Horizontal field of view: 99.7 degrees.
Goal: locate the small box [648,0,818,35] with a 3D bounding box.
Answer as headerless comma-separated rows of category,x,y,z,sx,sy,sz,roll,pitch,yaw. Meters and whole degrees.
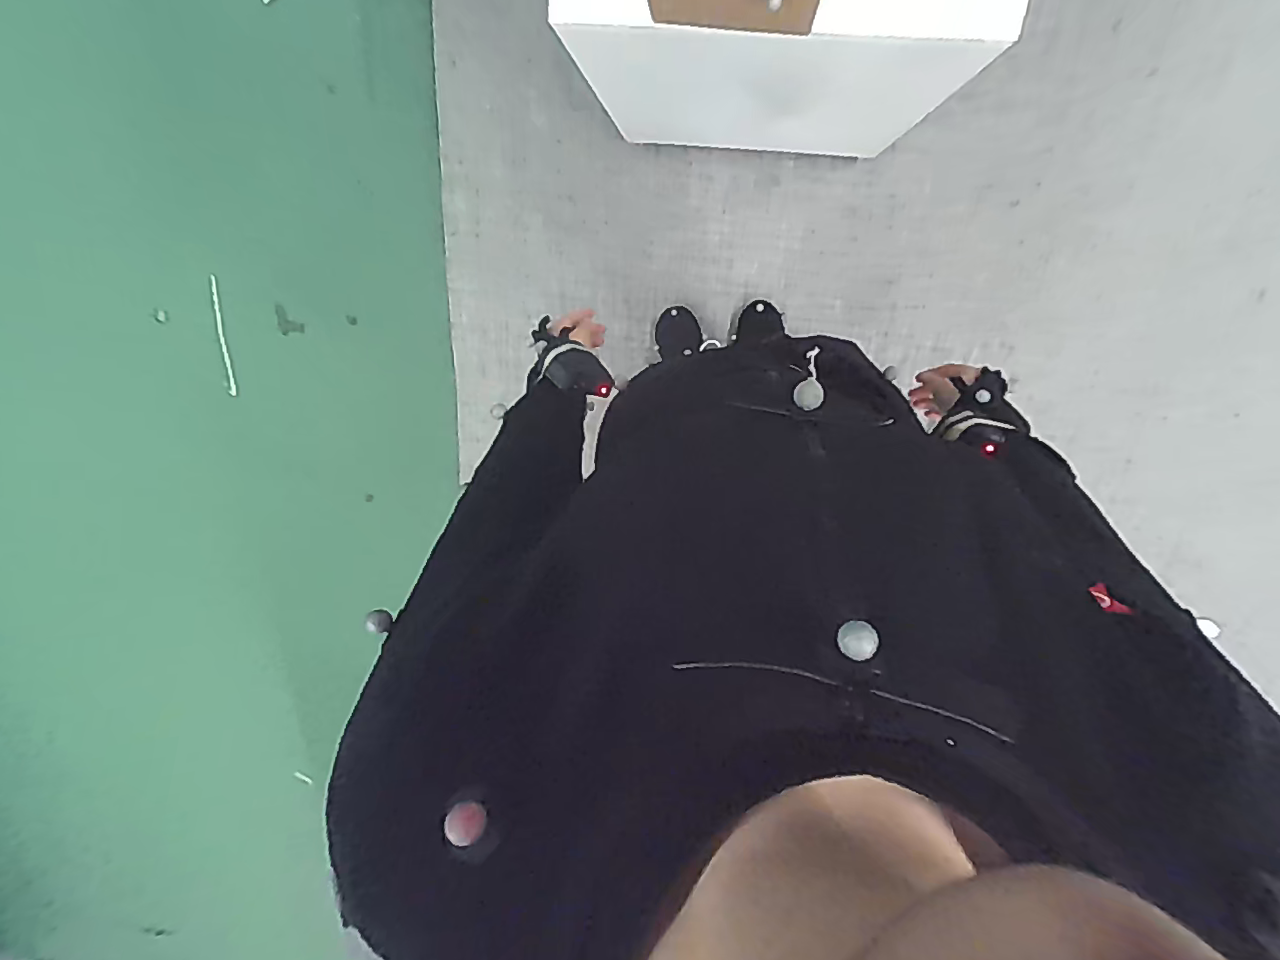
small box,0.096,-0.540,0.488,0.179,0.176,0.168,9,108,6
